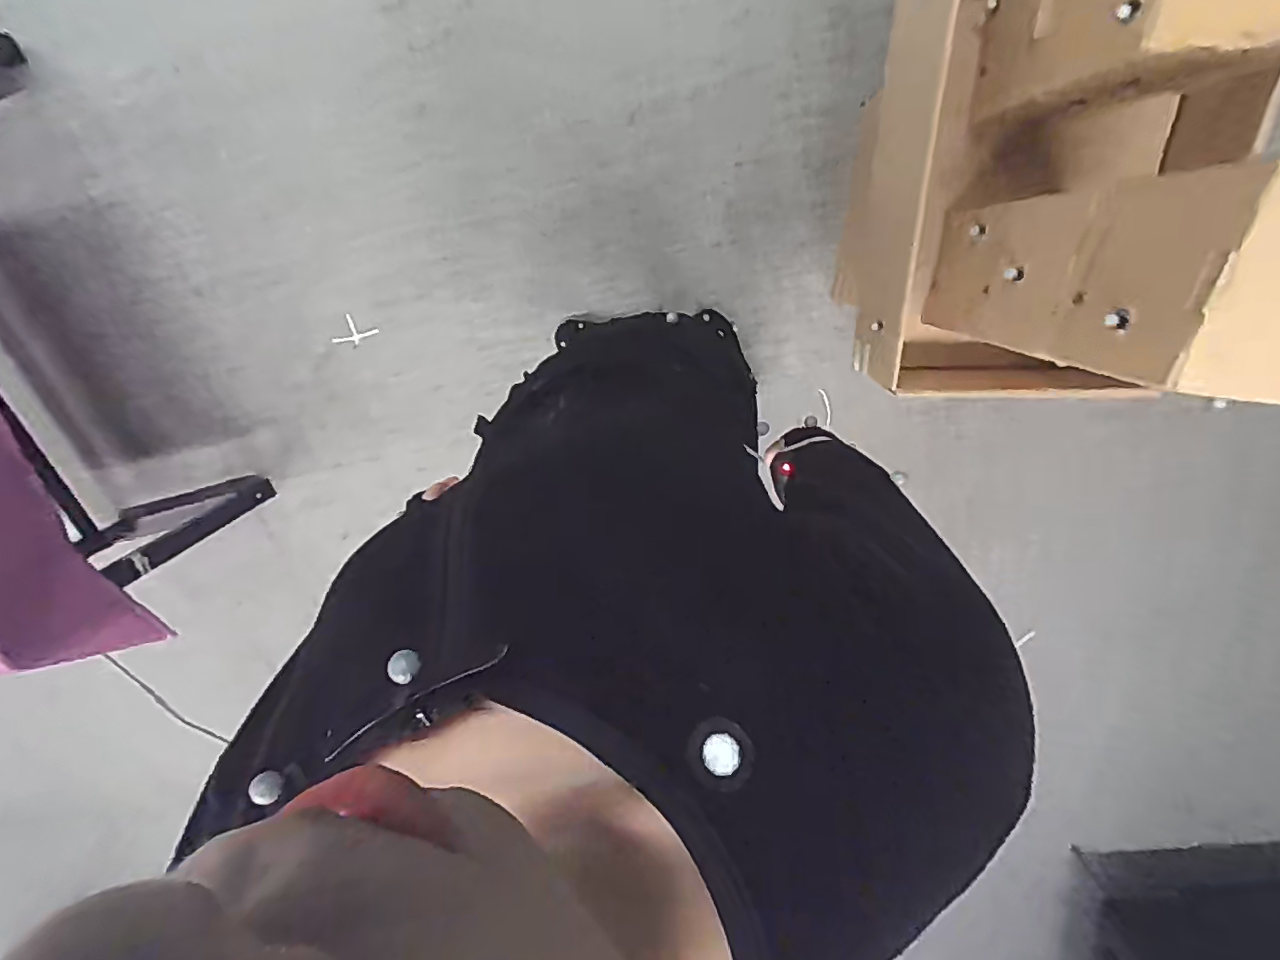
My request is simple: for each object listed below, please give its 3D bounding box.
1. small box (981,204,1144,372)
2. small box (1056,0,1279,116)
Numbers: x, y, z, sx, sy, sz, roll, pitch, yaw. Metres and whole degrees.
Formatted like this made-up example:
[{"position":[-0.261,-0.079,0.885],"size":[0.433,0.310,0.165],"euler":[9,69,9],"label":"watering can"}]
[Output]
[{"position":[0.538,-0.210,0.623],"size":[0.179,0.176,0.168],"euler":[8,113,3],"label":"small box"},{"position":[0.549,-0.473,0.518],"size":[0.168,0.176,0.179],"euler":[1,113,5],"label":"small box"}]
